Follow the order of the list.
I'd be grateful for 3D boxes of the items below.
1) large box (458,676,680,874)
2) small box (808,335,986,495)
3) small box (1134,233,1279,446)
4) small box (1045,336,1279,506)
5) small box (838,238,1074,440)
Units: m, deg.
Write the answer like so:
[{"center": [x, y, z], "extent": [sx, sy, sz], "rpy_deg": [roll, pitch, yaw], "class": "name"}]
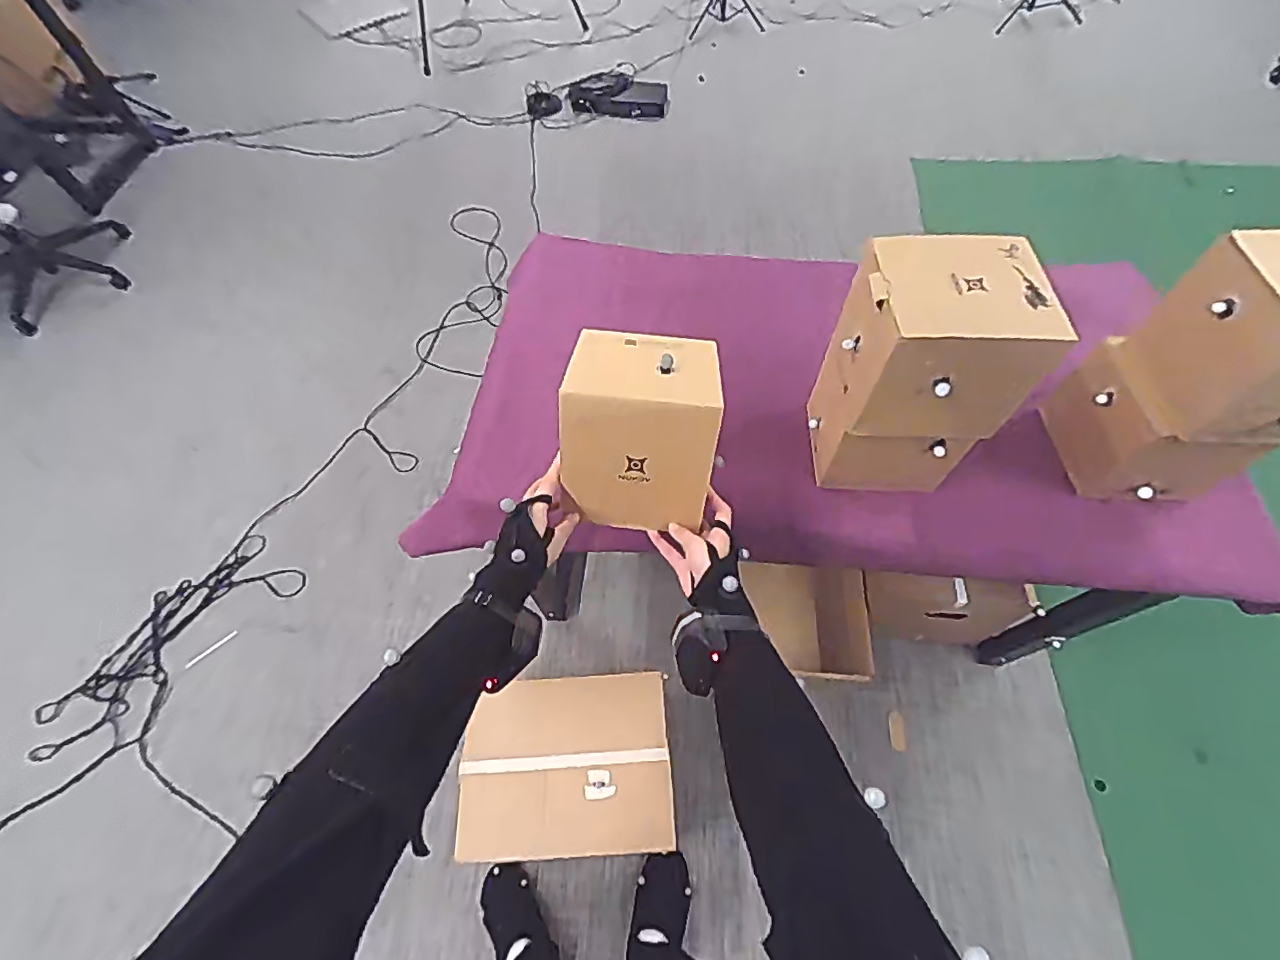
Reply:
[{"center": [-0.134, 0.627, 1.158], "extent": [0.408, 0.320, 0.320], "rpy_deg": [-4, 59, 0], "class": "large box"}, {"center": [0.357, -0.090, 0.787], "extent": [0.179, 0.176, 0.168], "rpy_deg": [2, 58, 4], "class": "small box"}, {"center": [0.730, -0.156, 0.615], "extent": [0.168, 0.176, 0.179], "rpy_deg": [0, 58, 5], "class": "small box"}, {"center": [0.723, -0.081, 0.762], "extent": [0.168, 0.176, 0.179], "rpy_deg": [0, 58, 4], "class": "small box"}, {"center": [0.344, -0.159, 0.638], "extent": [0.179, 0.176, 0.168], "rpy_deg": [1, 58, 4], "class": "small box"}]
